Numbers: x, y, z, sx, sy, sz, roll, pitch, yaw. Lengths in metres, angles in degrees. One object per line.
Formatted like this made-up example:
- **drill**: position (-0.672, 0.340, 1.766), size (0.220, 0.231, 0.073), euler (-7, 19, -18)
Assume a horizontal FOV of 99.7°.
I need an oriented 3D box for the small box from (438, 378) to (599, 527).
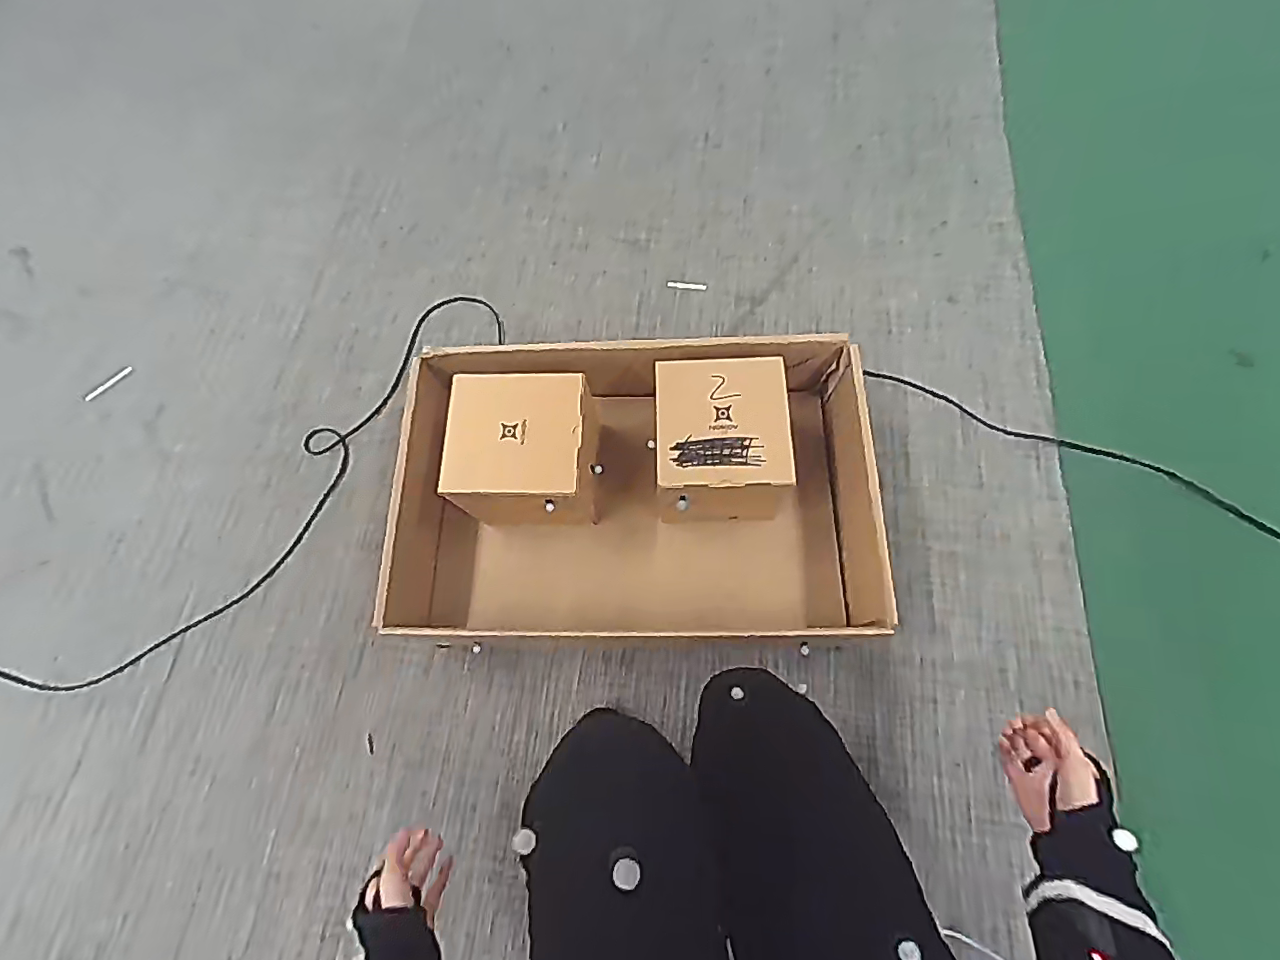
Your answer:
- **small box**: position (-0.158, -0.031, 0.761), size (0.179, 0.176, 0.168), euler (0, 72, 3)
